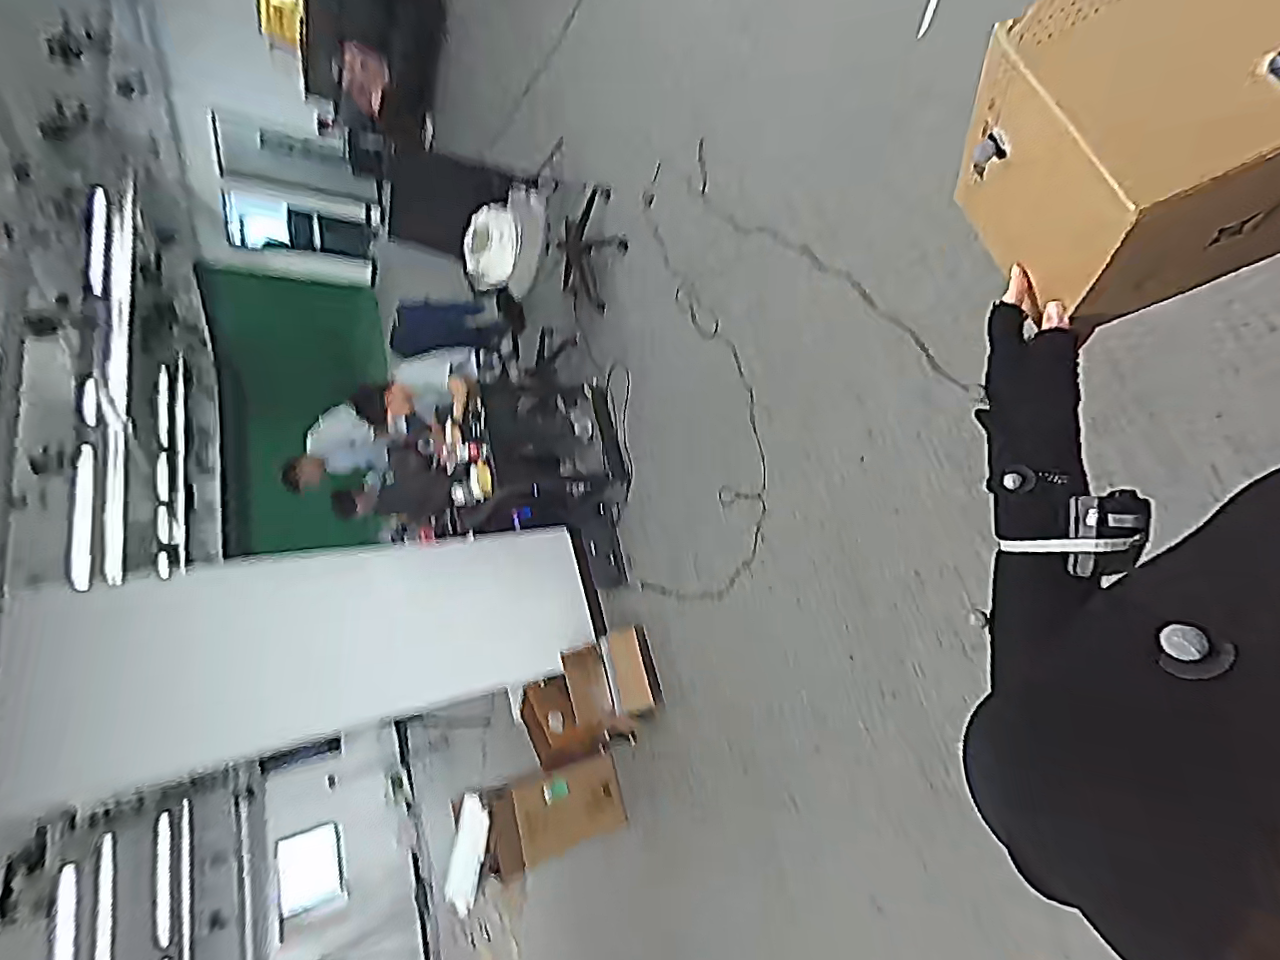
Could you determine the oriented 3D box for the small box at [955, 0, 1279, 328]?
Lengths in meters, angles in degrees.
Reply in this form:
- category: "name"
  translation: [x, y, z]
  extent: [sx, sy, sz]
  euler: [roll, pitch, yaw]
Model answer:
- category: "small box"
  translation: [0.350, -0.241, 0.361]
  extent: [0.179, 0.168, 0.176]
  euler: [-21, 72, 16]
